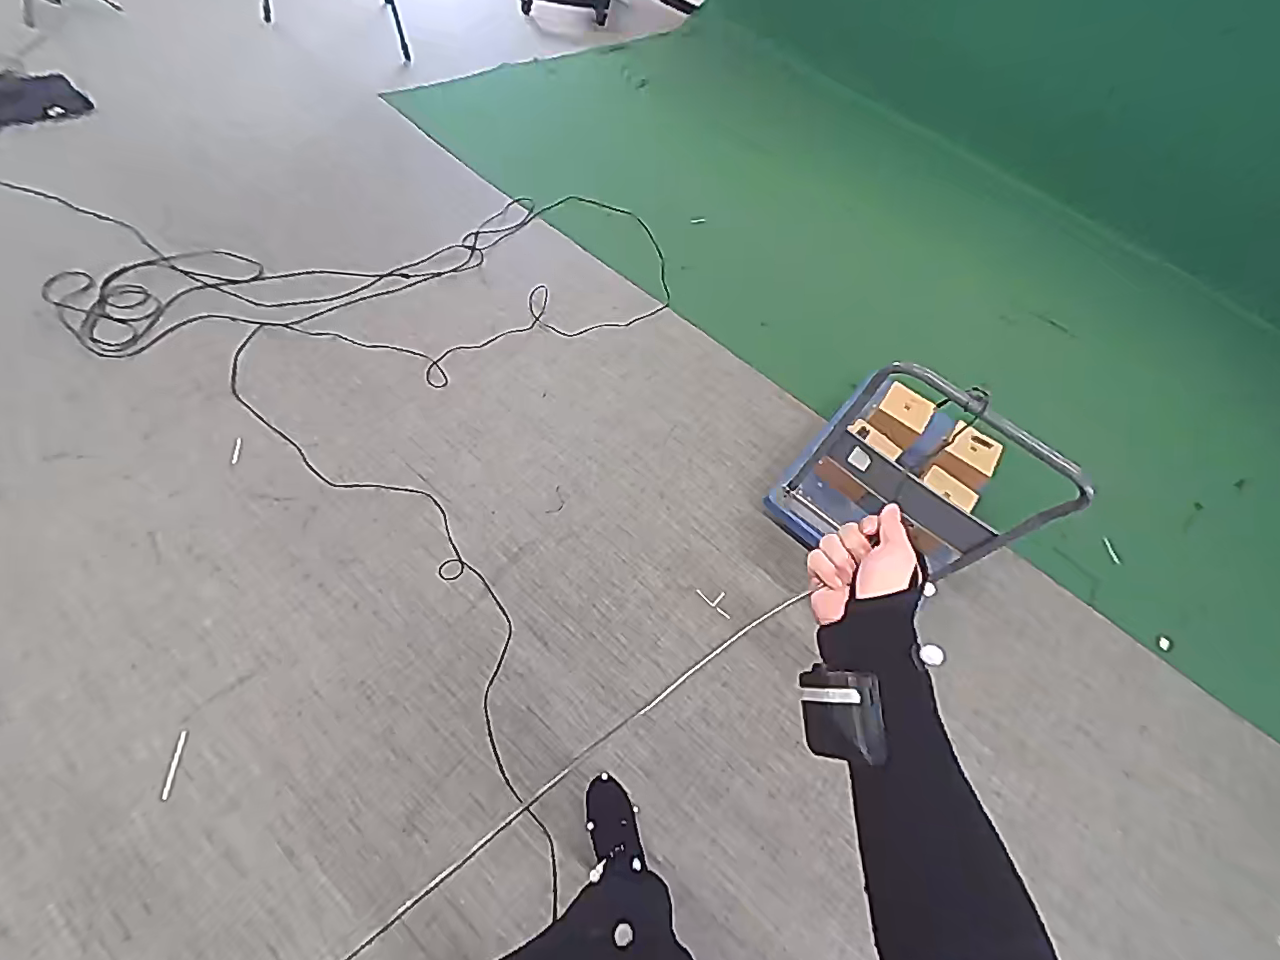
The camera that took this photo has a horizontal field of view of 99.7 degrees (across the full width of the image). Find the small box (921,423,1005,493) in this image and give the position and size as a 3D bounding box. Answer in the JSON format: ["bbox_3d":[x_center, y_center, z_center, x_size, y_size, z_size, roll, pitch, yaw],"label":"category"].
[{"bbox_3d":[1.111,-0.057,1.868,0.168,0.176,0.179,36,58,13],"label":"small box"}]

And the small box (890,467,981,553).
[{"bbox_3d":[0.939,0.099,1.731,0.168,0.176,0.179,40,59,15],"label":"small box"}]

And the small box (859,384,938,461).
[{"bbox_3d":[0.910,-0.200,1.921,0.168,0.176,0.179,36,57,12],"label":"small box"}]
